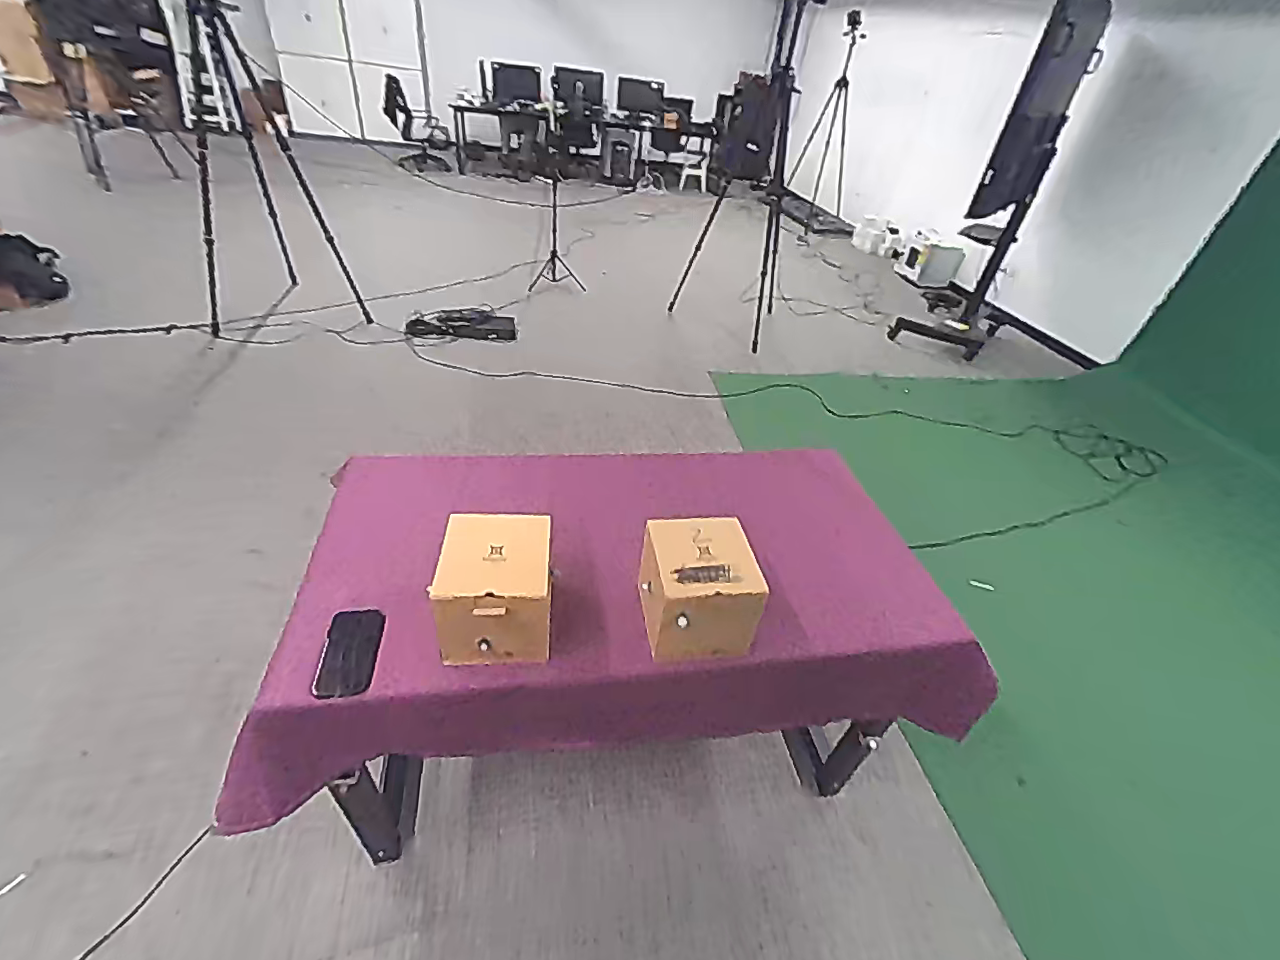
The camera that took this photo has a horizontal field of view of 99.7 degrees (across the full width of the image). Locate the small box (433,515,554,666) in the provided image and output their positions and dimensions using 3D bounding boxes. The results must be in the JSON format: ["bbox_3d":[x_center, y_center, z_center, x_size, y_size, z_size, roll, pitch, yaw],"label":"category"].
[{"bbox_3d":[-0.230,0.179,0.881,0.168,0.176,0.179,2,39,-9],"label":"small box"}]
